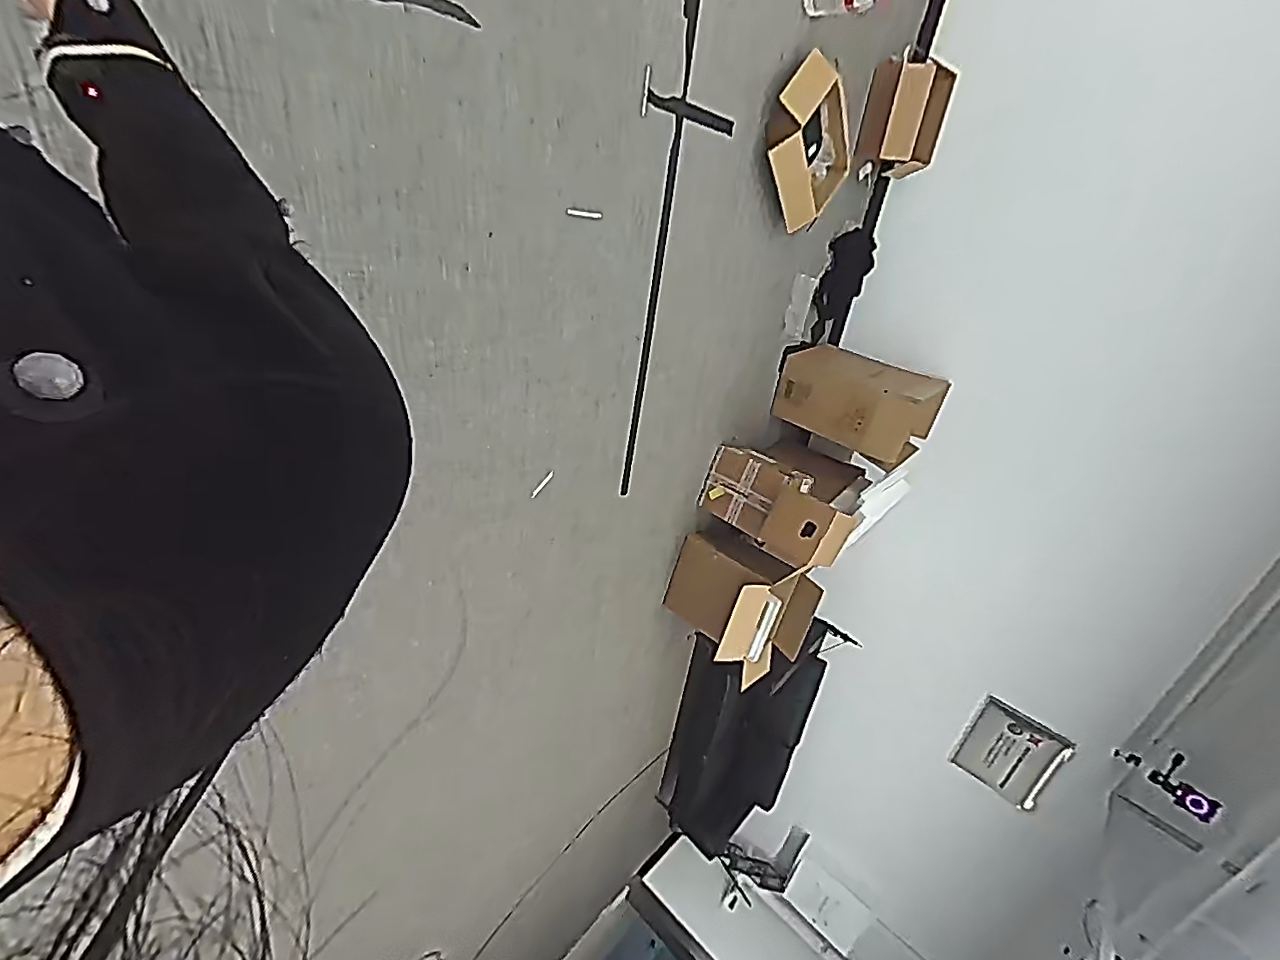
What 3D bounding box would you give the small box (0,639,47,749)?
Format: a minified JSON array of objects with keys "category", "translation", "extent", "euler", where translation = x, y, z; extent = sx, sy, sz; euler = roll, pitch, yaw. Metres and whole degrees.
[{"category":"small box","translation":[-1.343,0.439,1.072],"extent":[0.168,0.176,0.179],"euler":[-32,136,-39]}]
